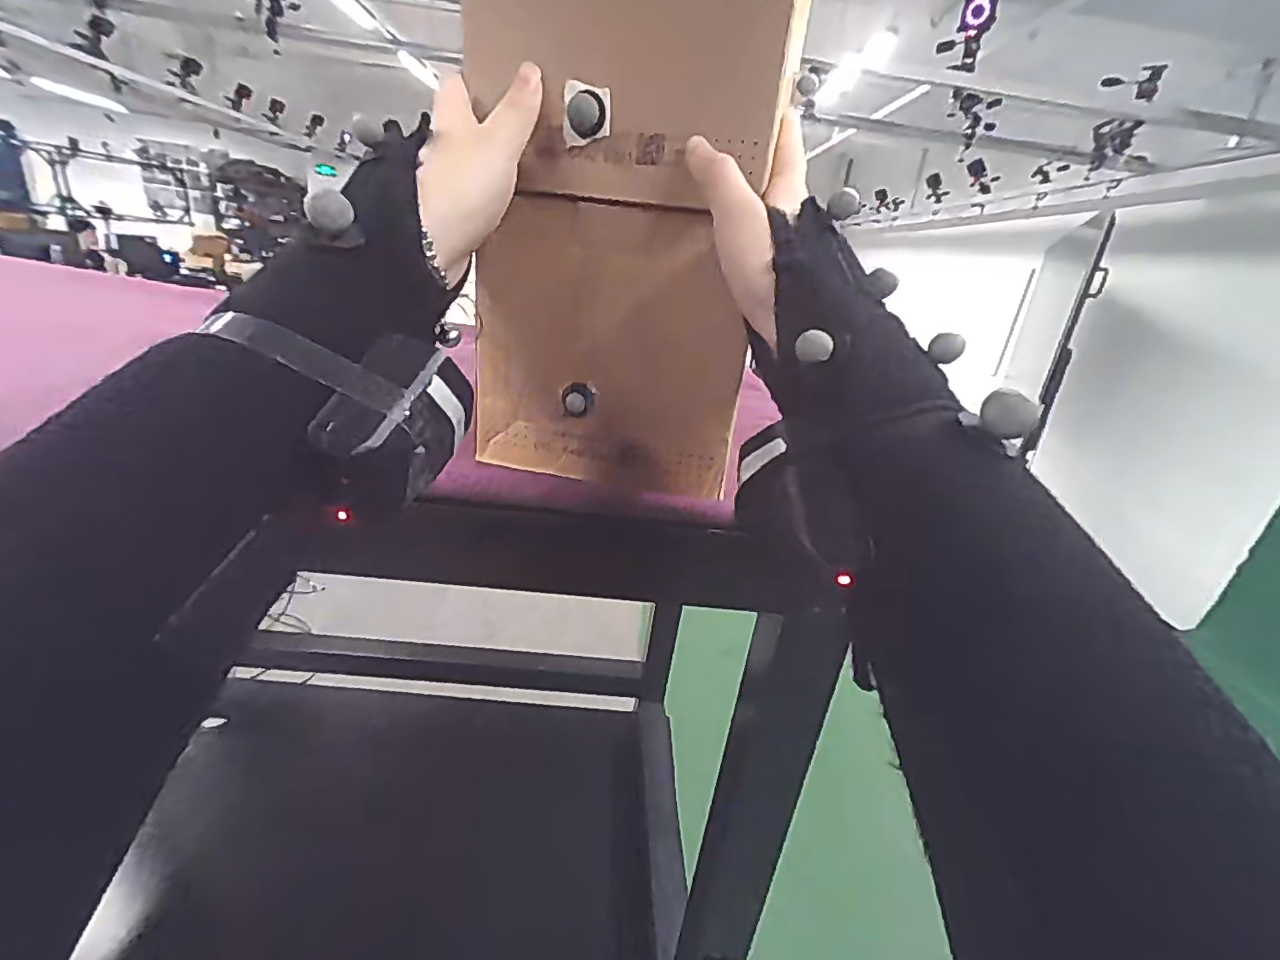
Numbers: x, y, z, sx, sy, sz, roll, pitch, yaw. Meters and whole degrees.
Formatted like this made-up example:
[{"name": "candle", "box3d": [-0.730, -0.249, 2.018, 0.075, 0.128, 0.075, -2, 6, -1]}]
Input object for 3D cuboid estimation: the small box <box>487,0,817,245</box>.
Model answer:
[{"name": "small box", "box3d": [0.014, -0.243, 0.330, 0.168, 0.176, 0.179, 9, 24, 9]}]
